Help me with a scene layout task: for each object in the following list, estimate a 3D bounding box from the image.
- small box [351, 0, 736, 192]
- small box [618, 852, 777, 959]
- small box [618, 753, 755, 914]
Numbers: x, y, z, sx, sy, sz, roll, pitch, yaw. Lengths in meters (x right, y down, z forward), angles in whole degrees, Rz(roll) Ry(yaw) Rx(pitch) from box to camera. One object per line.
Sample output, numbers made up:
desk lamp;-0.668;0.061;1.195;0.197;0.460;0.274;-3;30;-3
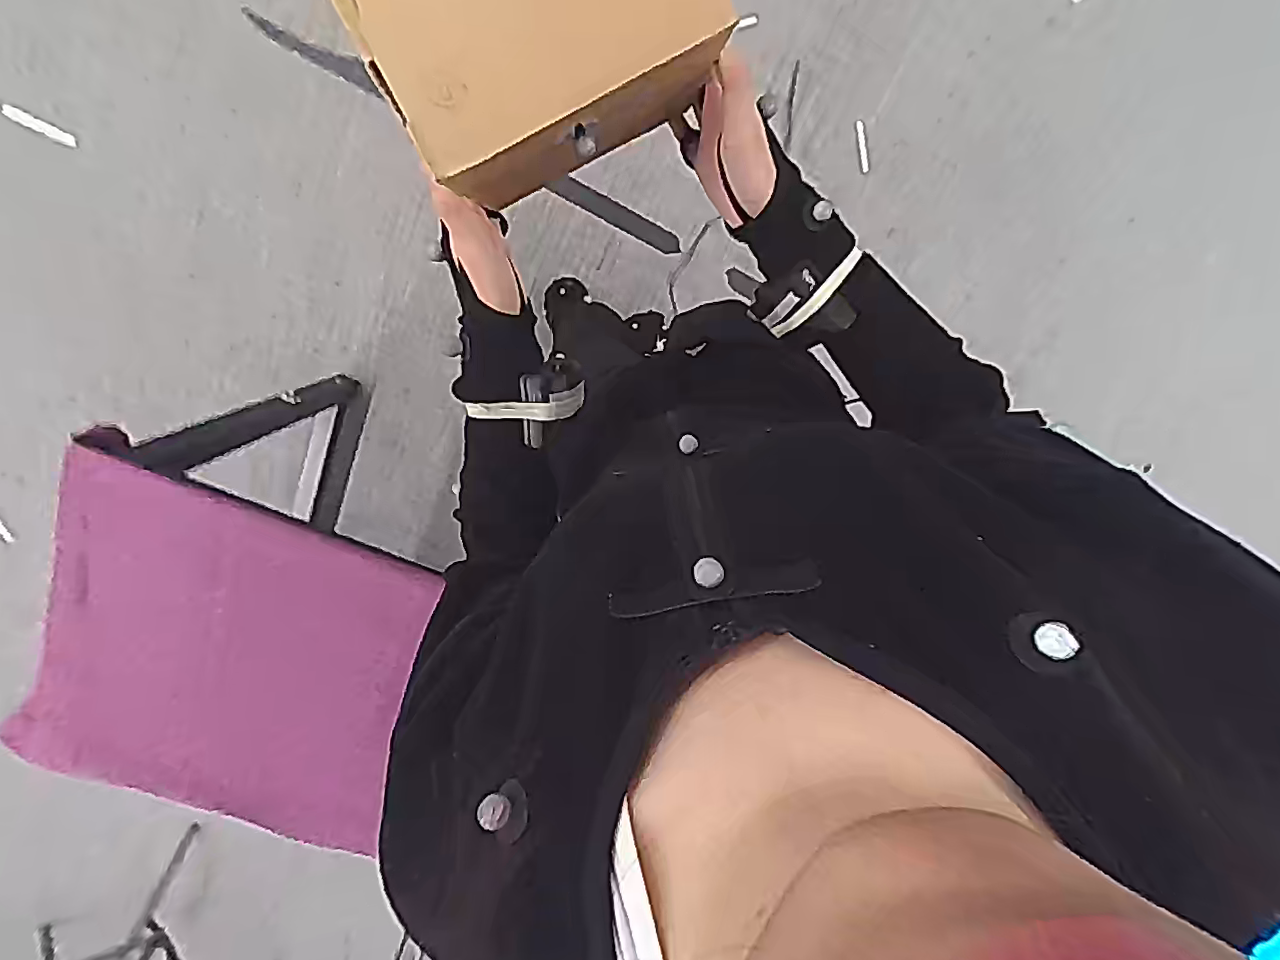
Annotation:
small box;-0.065;-0.296;0.322;0.179;0.176;0.168;-24;112;5
small box;0.072;0.662;0.752;0.179;0.176;0.168;18;110;-7
small box;0.066;0.596;0.902;0.168;0.176;0.179;20;109;-9
